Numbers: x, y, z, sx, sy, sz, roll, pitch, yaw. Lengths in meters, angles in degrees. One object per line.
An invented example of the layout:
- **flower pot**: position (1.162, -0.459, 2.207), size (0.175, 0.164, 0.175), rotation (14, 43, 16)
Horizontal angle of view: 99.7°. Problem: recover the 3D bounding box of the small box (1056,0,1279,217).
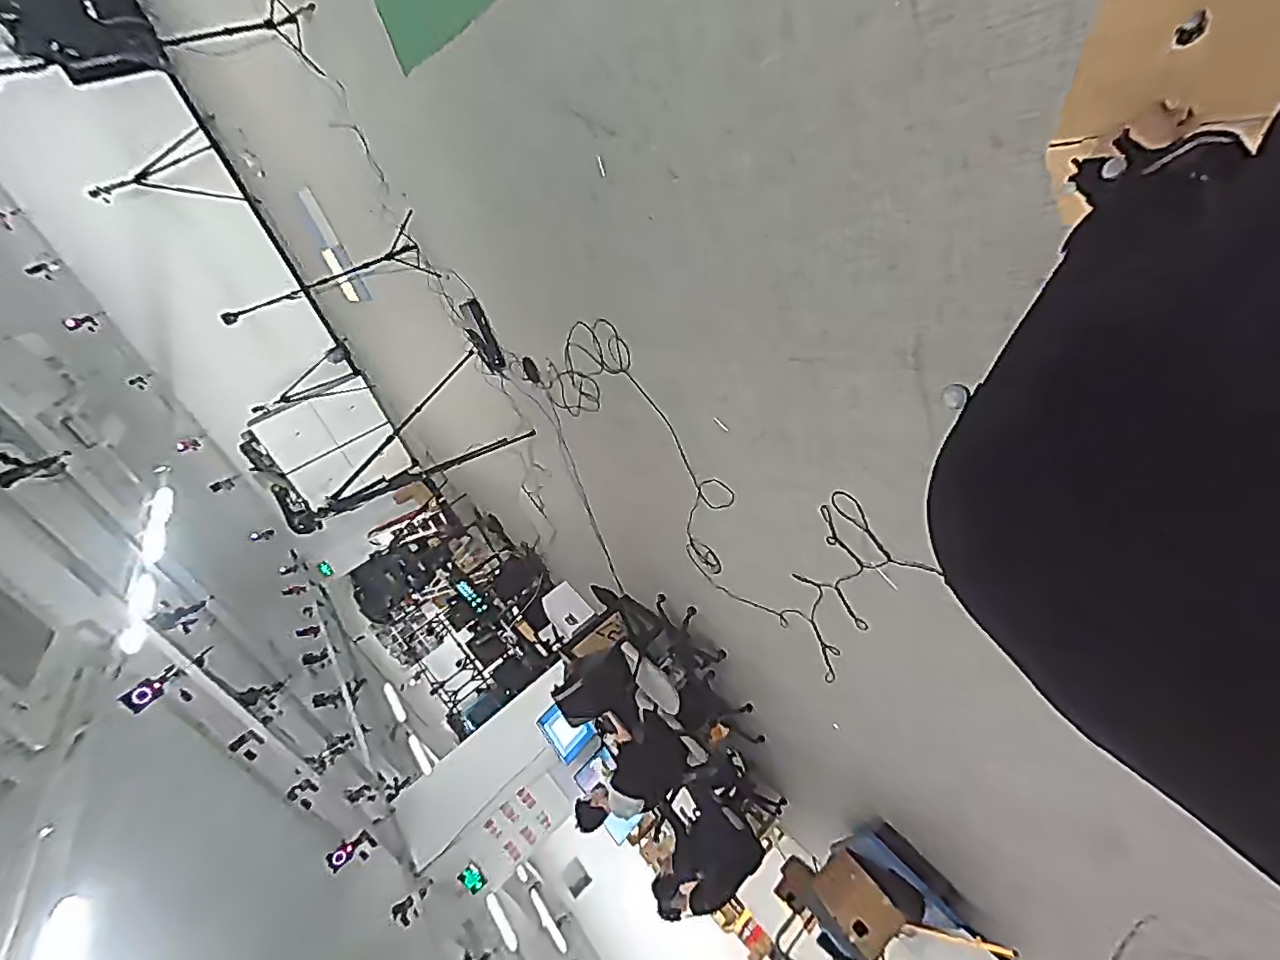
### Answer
- **small box**: position (0.553, -0.394, 0.544), size (0.168, 0.179, 0.176), rotation (22, 99, 44)
